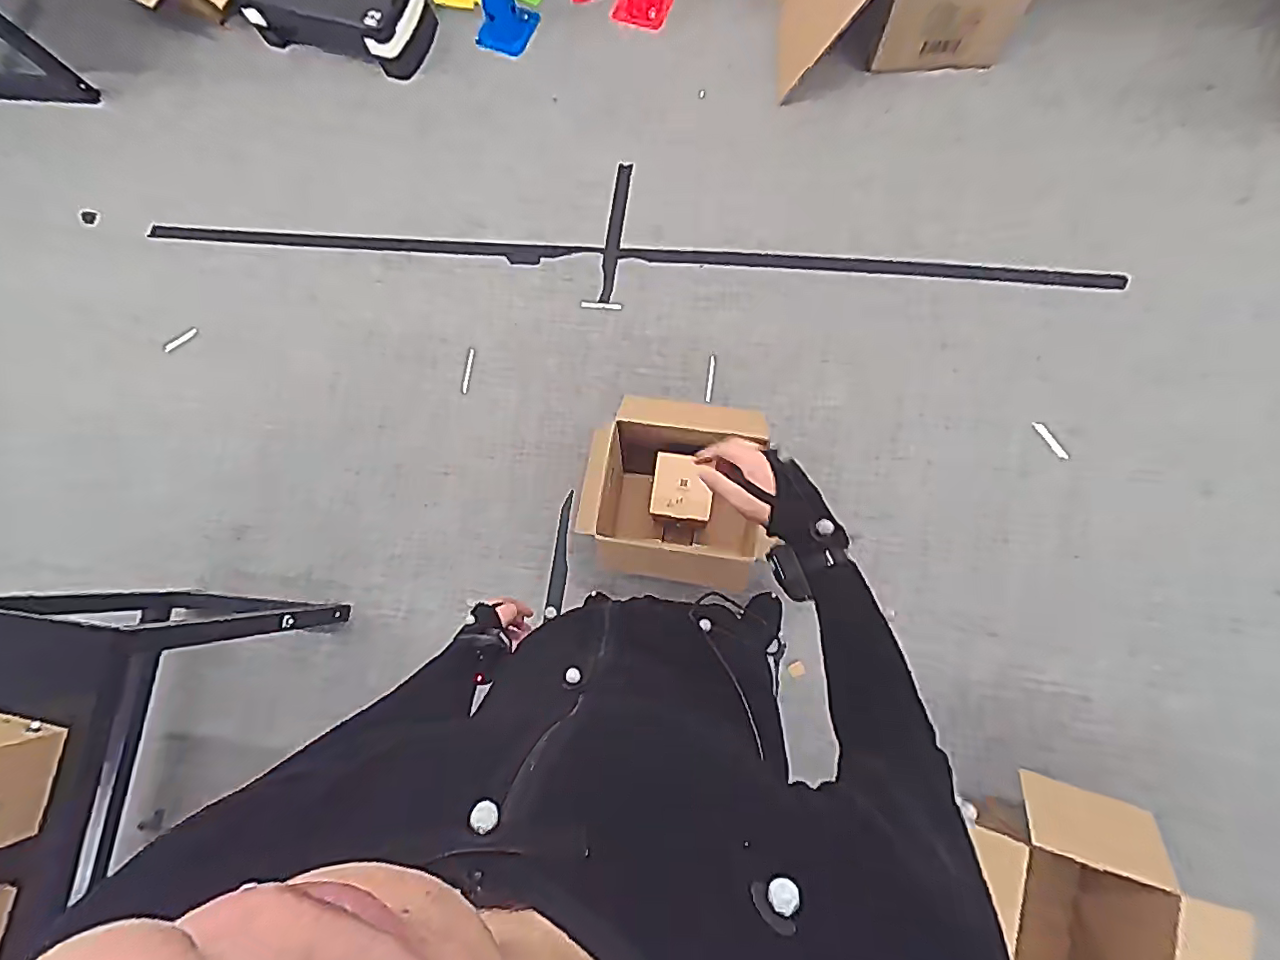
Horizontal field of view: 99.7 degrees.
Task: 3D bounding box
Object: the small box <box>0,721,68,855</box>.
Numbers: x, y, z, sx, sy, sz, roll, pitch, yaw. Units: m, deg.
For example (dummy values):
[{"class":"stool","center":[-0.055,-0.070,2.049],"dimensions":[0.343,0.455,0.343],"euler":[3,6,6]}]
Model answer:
[{"class":"small box","center":[-1.104,0.512,0.878],"dimensions":[0.168,0.176,0.179],"euler":[8,82,8]}]
